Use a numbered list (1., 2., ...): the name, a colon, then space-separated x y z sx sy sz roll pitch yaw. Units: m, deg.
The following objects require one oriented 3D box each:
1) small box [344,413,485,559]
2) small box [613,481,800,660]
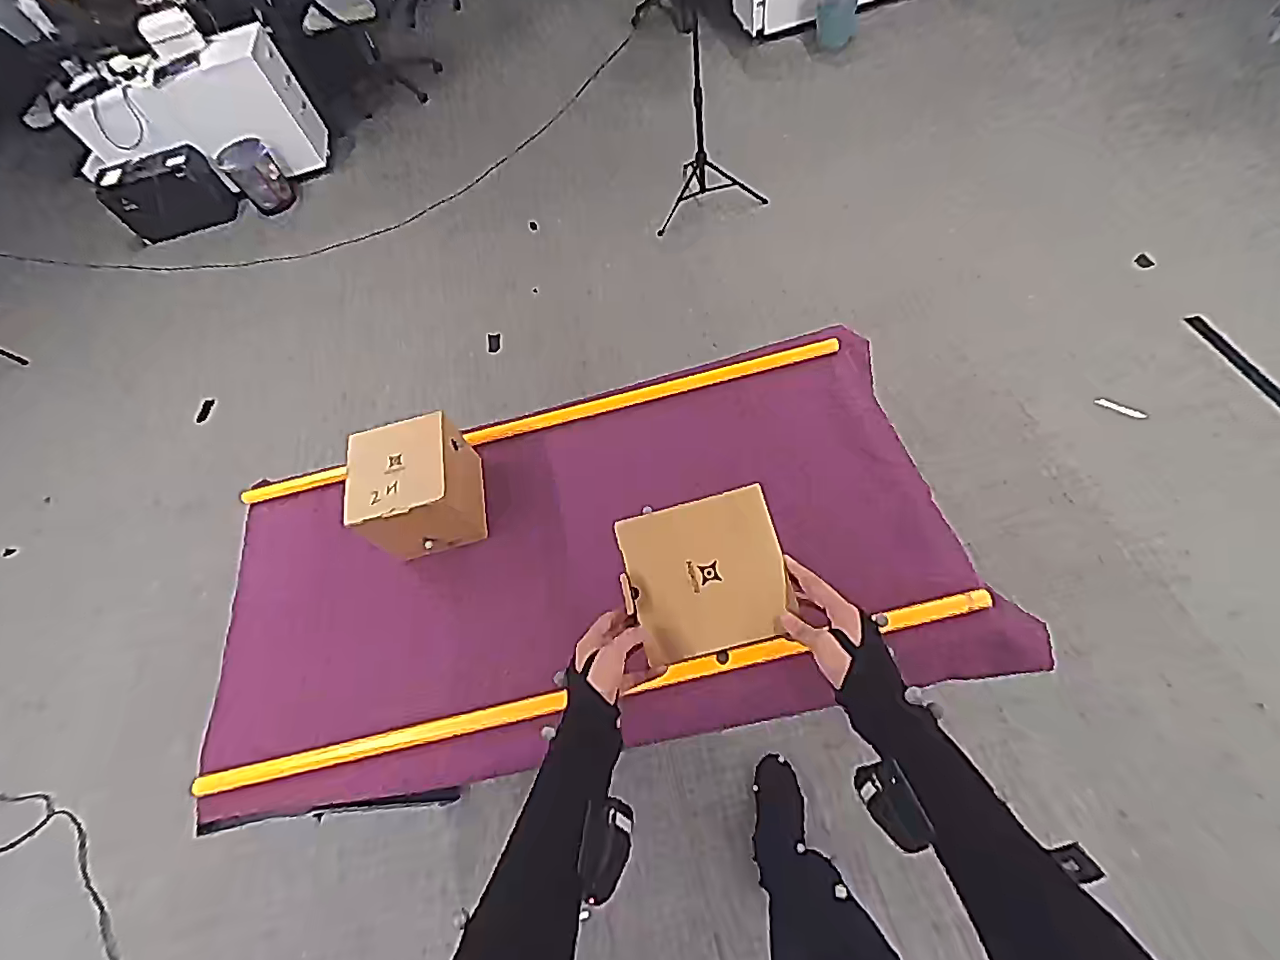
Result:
1. small box: -0.382 0.016 0.943 0.168 0.176 0.179 -15 61 2
2. small box: 0.082 0.116 0.679 0.179 0.176 0.168 -17 74 6
